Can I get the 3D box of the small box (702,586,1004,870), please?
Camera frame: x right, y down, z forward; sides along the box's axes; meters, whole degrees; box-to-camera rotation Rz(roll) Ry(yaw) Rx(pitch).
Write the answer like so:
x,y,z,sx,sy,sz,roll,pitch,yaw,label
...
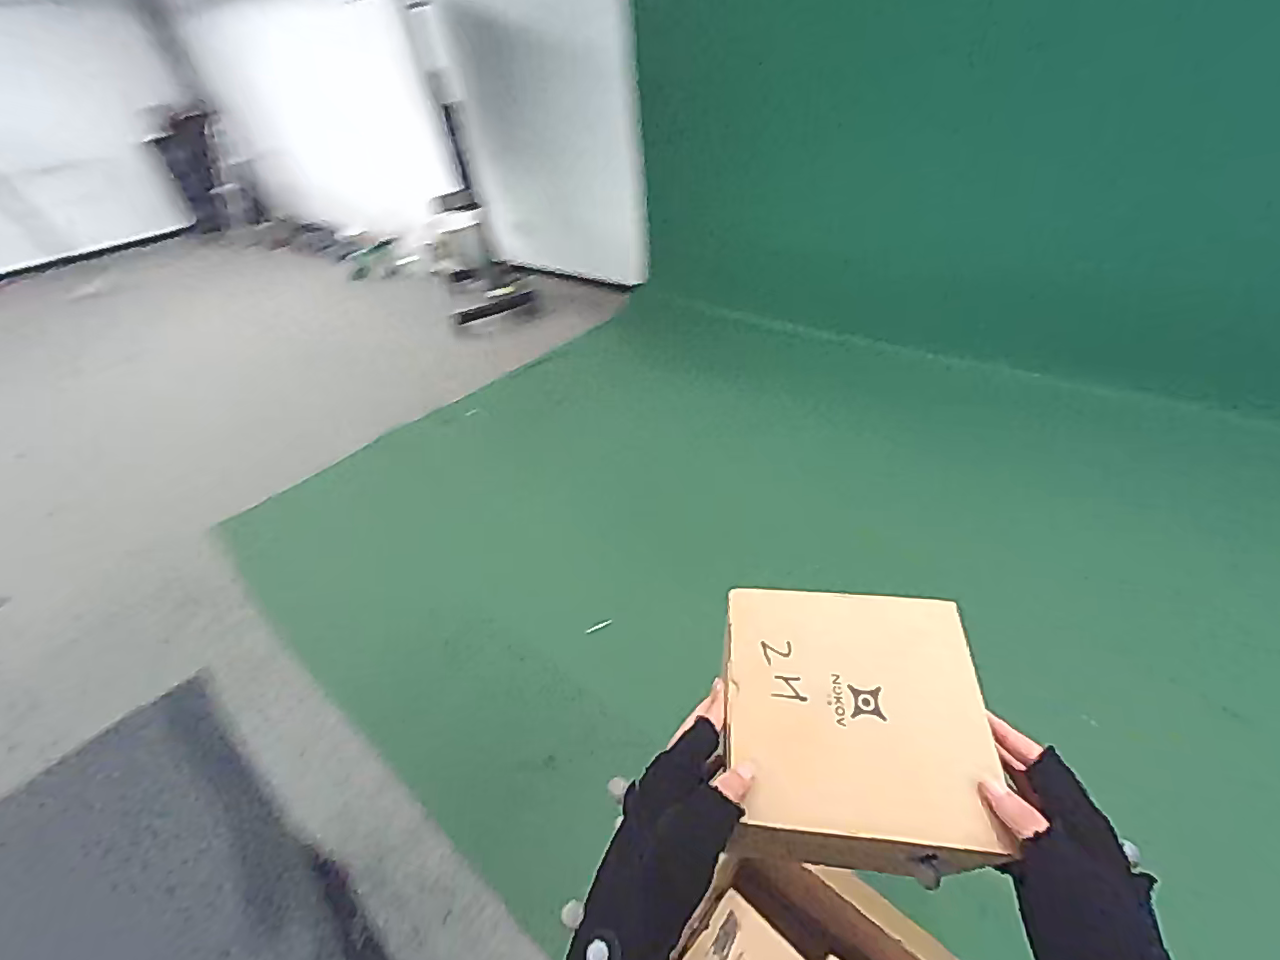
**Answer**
x,y,z,sx,sy,sz,roll,pitch,yaw,label
0.141,0.202,0.435,0.179,0.176,0.168,1,50,7,small box
